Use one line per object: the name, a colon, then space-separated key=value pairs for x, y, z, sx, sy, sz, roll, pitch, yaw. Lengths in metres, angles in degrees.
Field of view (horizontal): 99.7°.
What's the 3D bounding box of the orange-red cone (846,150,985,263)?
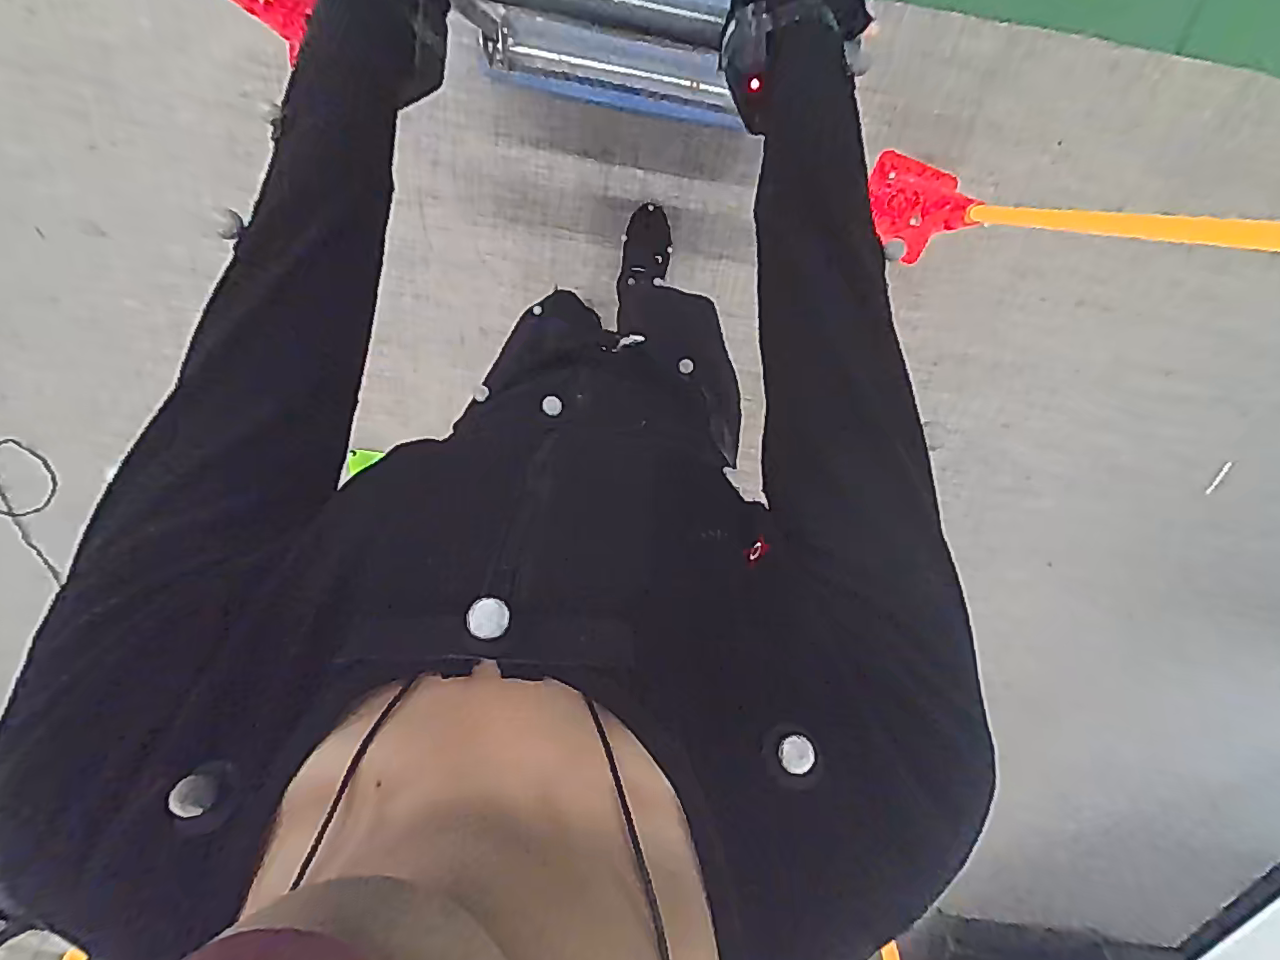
orange-red cone: x=0.599 y=-0.552 z=1.107 sx=0.198 sy=0.360 sz=0.199 roll=19 pitch=117 yaw=-7
